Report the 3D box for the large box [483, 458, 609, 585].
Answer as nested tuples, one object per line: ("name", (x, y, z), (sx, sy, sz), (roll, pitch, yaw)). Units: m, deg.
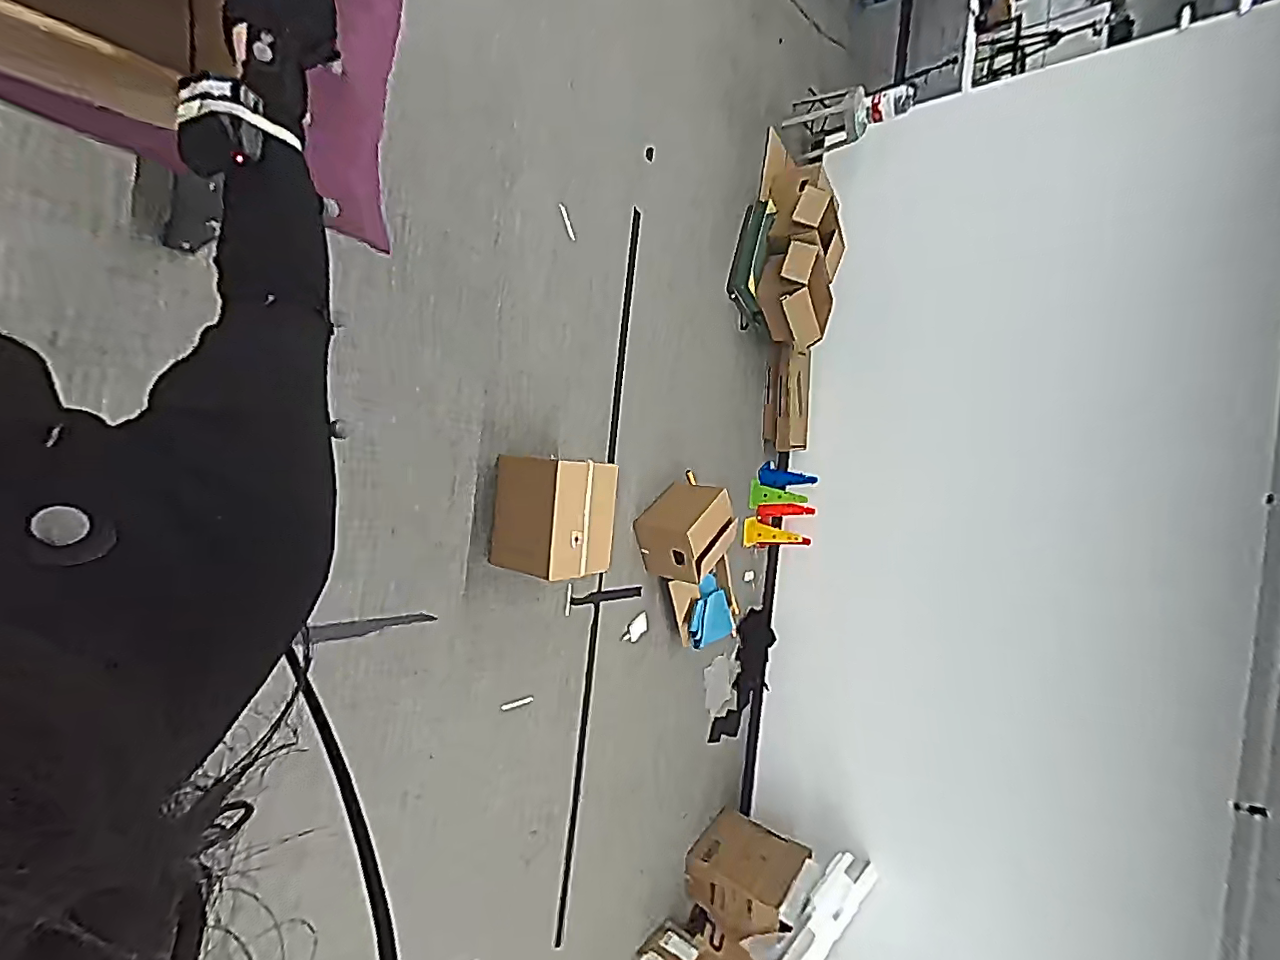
("large box", (-0.340, 0.133, 1.954), (0.320, 0.320, 0.408), (3, 93, -54))
